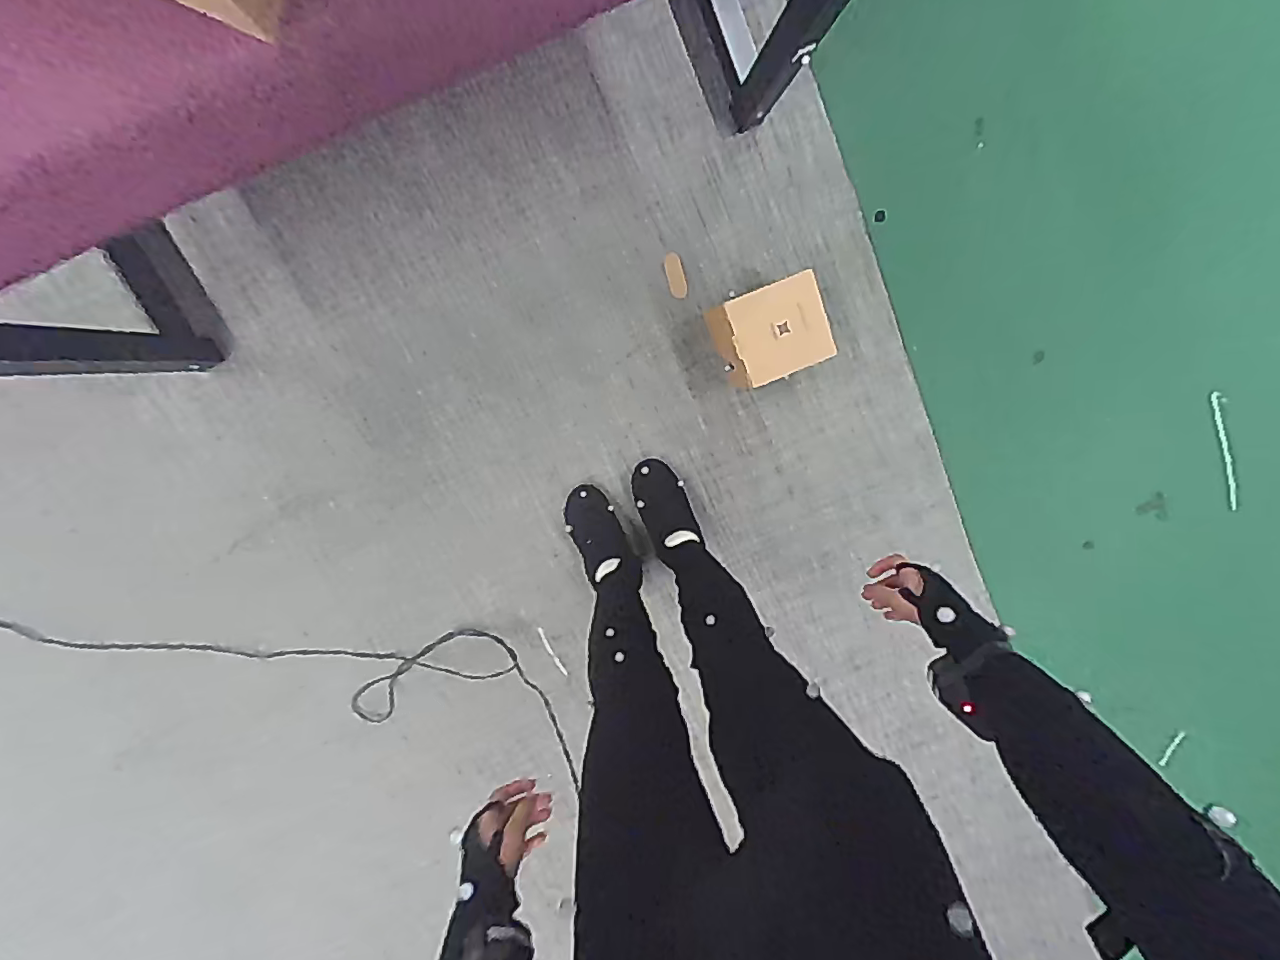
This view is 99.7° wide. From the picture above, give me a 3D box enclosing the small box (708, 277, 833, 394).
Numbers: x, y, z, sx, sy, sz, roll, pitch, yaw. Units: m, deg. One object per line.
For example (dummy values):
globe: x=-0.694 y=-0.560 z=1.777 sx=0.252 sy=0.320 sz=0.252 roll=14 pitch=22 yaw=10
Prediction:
small box: x=0.243 y=-0.276 z=1.060 sx=0.179 sy=0.176 sz=0.168 roll=-22 pitch=103 yaw=-2
